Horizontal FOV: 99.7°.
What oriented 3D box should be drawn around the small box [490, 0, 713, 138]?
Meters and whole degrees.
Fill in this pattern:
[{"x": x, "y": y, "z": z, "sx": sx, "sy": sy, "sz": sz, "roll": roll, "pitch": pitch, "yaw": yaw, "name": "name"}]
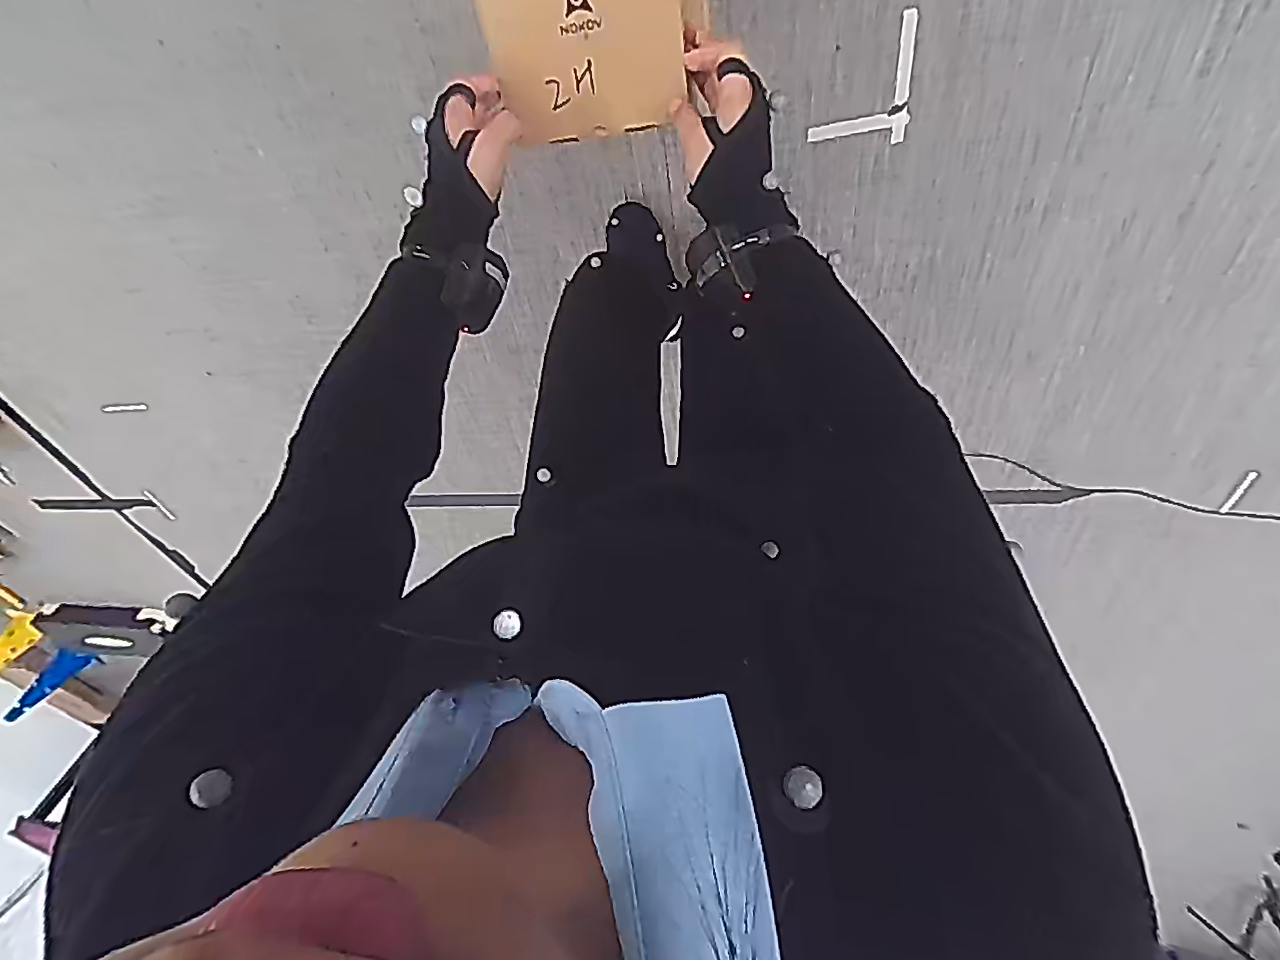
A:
[{"x": -0.027, "y": -0.433, "z": 0.485, "sx": 0.168, "sy": 0.176, "sz": 0.179, "roll": 1, "pitch": 132, "yaw": 14, "name": "small box"}]
